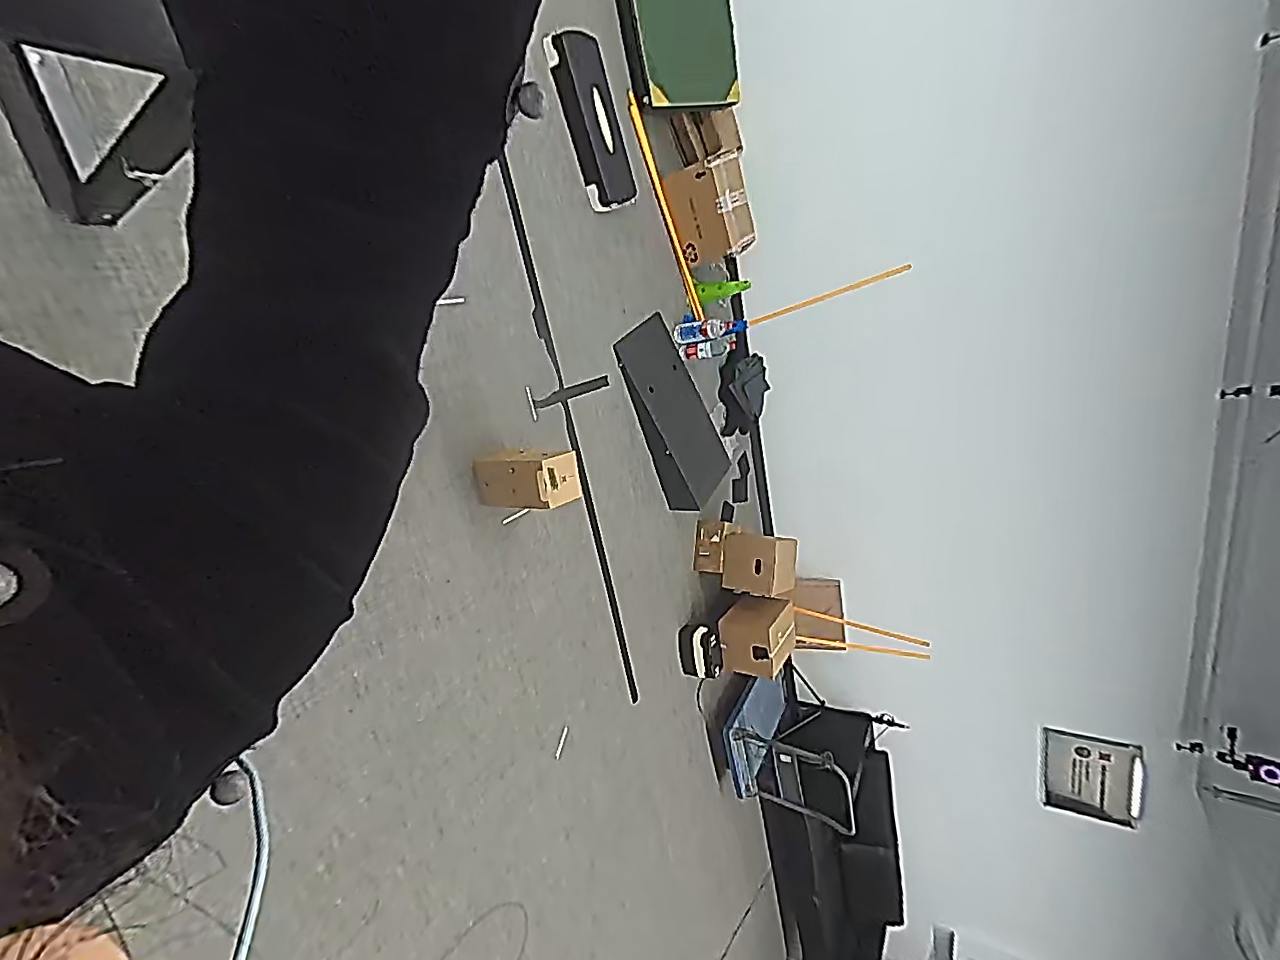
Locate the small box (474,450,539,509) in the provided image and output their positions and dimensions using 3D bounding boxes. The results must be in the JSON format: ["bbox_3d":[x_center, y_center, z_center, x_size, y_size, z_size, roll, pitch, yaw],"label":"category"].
[{"bbox_3d":[-0.466,-0.008,1.939,0.168,0.176,0.179,-31,116,-53],"label":"small box"}]

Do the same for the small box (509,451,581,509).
[{"bbox_3d":[-0.330,-0.002,1.844,0.179,0.176,0.168,-24,110,-55],"label":"small box"}]
